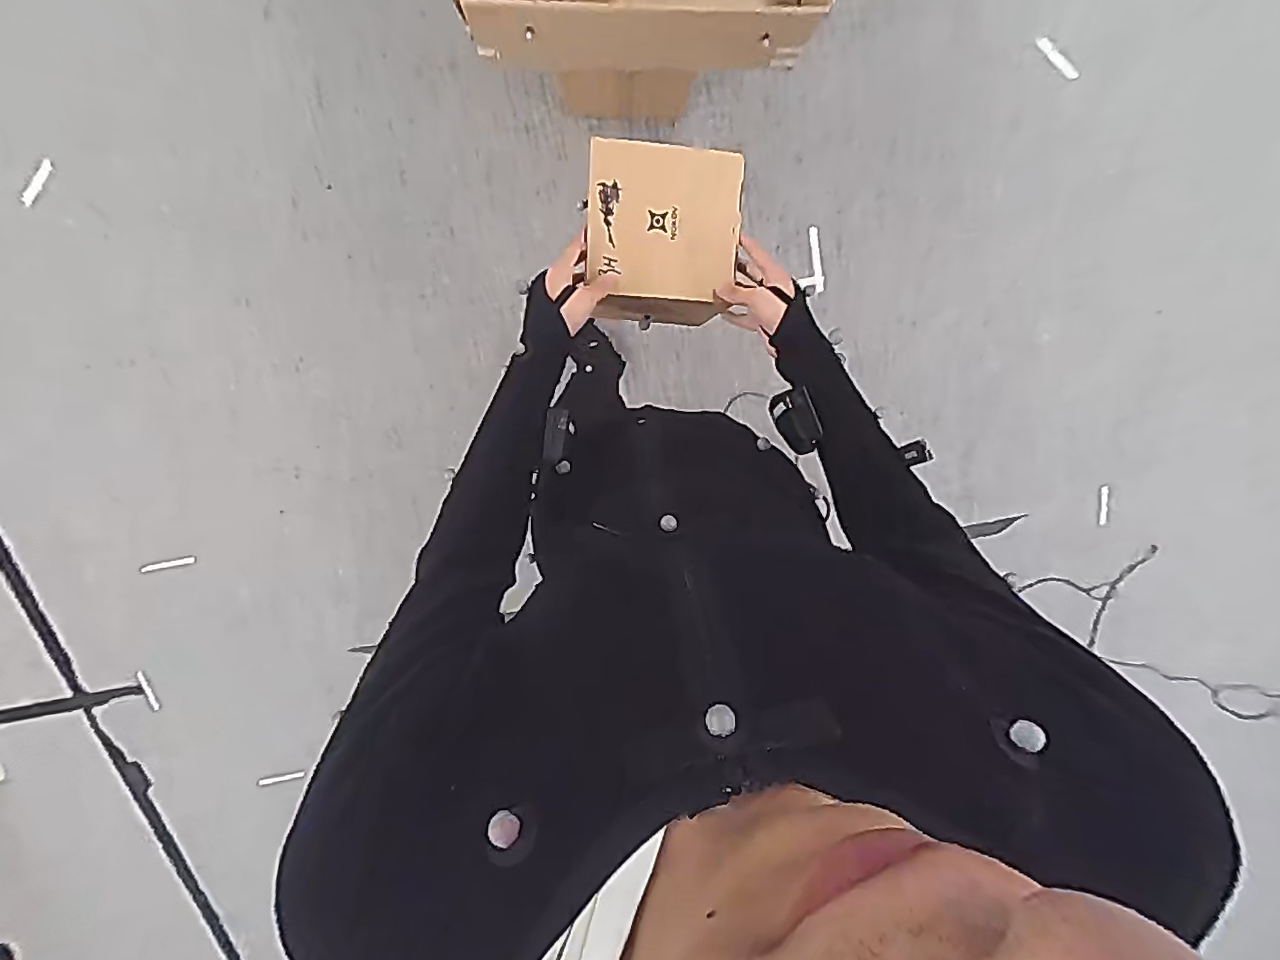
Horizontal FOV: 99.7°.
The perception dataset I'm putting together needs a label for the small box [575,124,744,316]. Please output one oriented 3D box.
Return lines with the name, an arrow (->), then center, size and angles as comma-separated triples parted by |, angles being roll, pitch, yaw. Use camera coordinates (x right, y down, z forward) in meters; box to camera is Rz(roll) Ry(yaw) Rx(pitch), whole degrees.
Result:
small box -> 0.013, -0.306, 0.678 | 0.179, 0.176, 0.168 | 3, 97, -9
